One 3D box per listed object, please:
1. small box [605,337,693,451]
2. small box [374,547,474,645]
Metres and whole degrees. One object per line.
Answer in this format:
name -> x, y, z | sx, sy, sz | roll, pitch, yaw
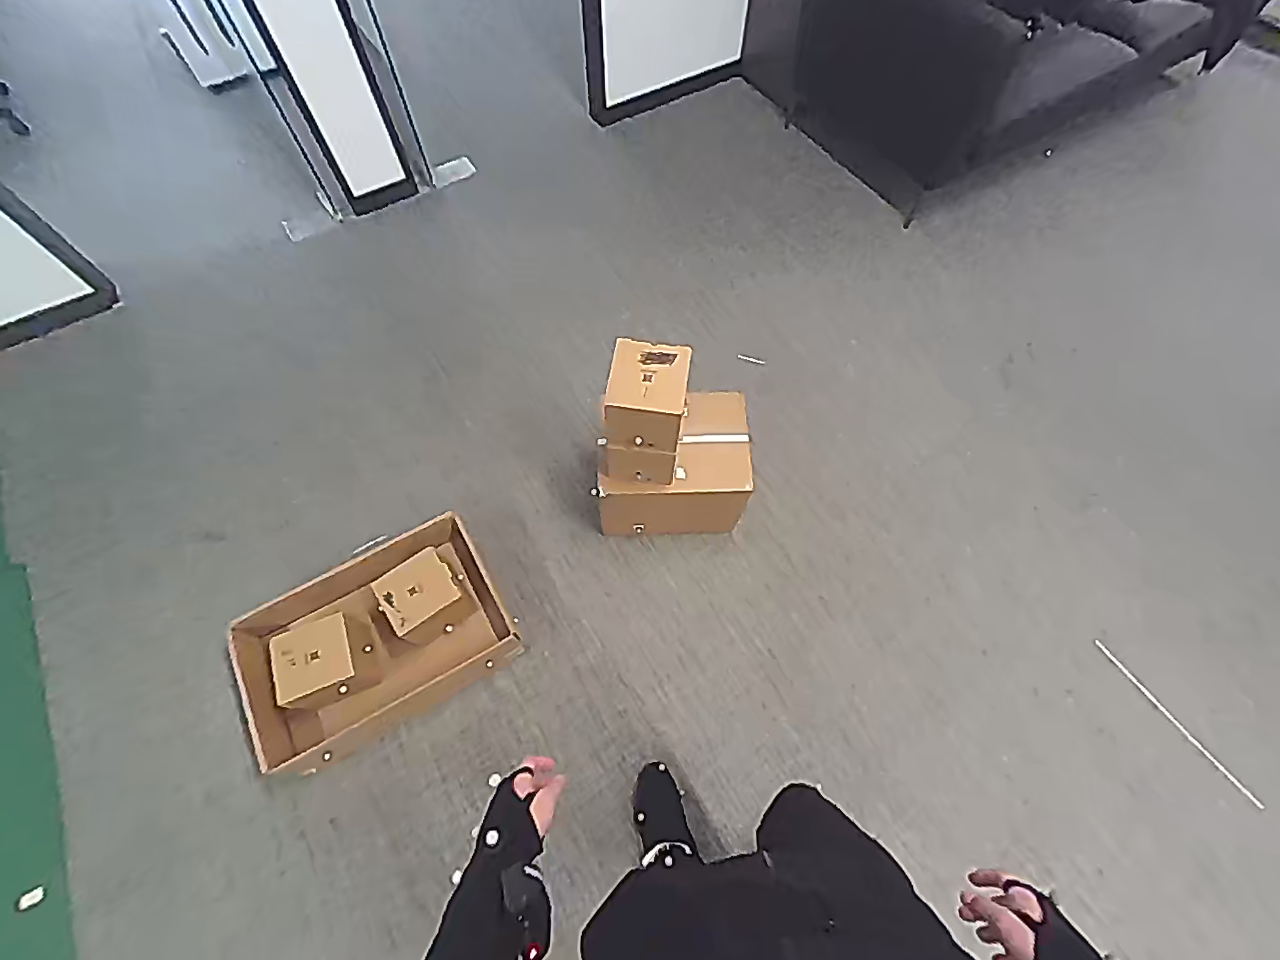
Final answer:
small box -> 0.019, -0.186, 1.197 | 0.168, 0.176, 0.179 | 8, 66, 4
small box -> -0.557, 0.309, 1.424 | 0.179, 0.176, 0.168 | -33, 69, -15
